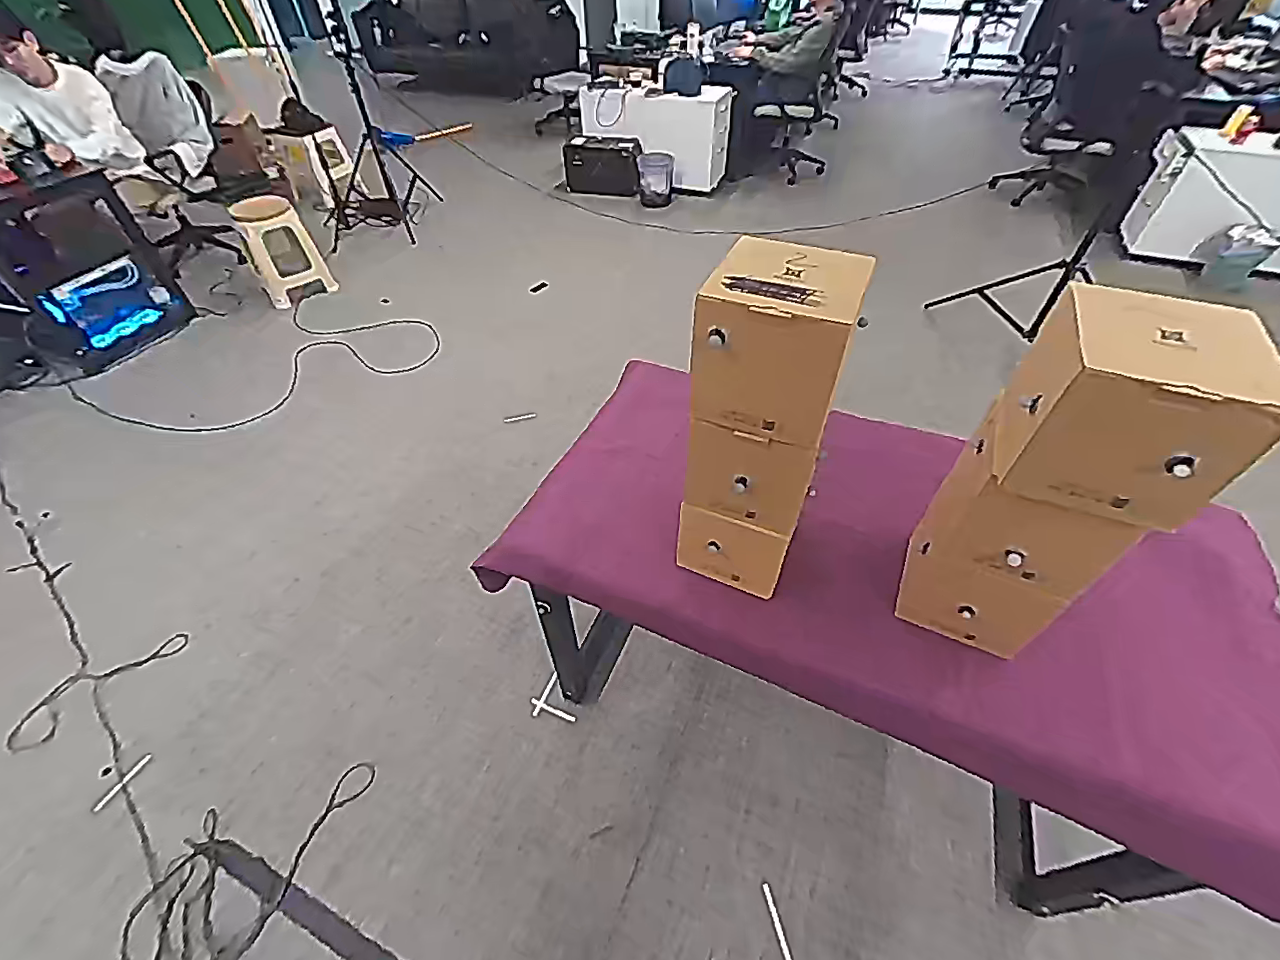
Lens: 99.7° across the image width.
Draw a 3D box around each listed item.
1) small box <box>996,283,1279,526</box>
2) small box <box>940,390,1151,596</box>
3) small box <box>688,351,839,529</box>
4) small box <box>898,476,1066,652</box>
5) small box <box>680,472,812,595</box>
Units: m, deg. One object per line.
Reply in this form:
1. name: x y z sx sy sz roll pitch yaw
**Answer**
1. small box: 0.507 -0.079 0.575 0.168 0.176 0.179 18 49 16
2. small box: 0.516 0.016 0.708 0.168 0.176 0.179 20 51 18
3. small box: 0.172 -0.056 0.783 0.168 0.176 0.179 17 49 15
4. small box: 0.513 0.130 0.826 0.168 0.176 0.179 20 50 18
5. small box: 0.172 0.061 0.898 0.168 0.176 0.179 19 49 17
